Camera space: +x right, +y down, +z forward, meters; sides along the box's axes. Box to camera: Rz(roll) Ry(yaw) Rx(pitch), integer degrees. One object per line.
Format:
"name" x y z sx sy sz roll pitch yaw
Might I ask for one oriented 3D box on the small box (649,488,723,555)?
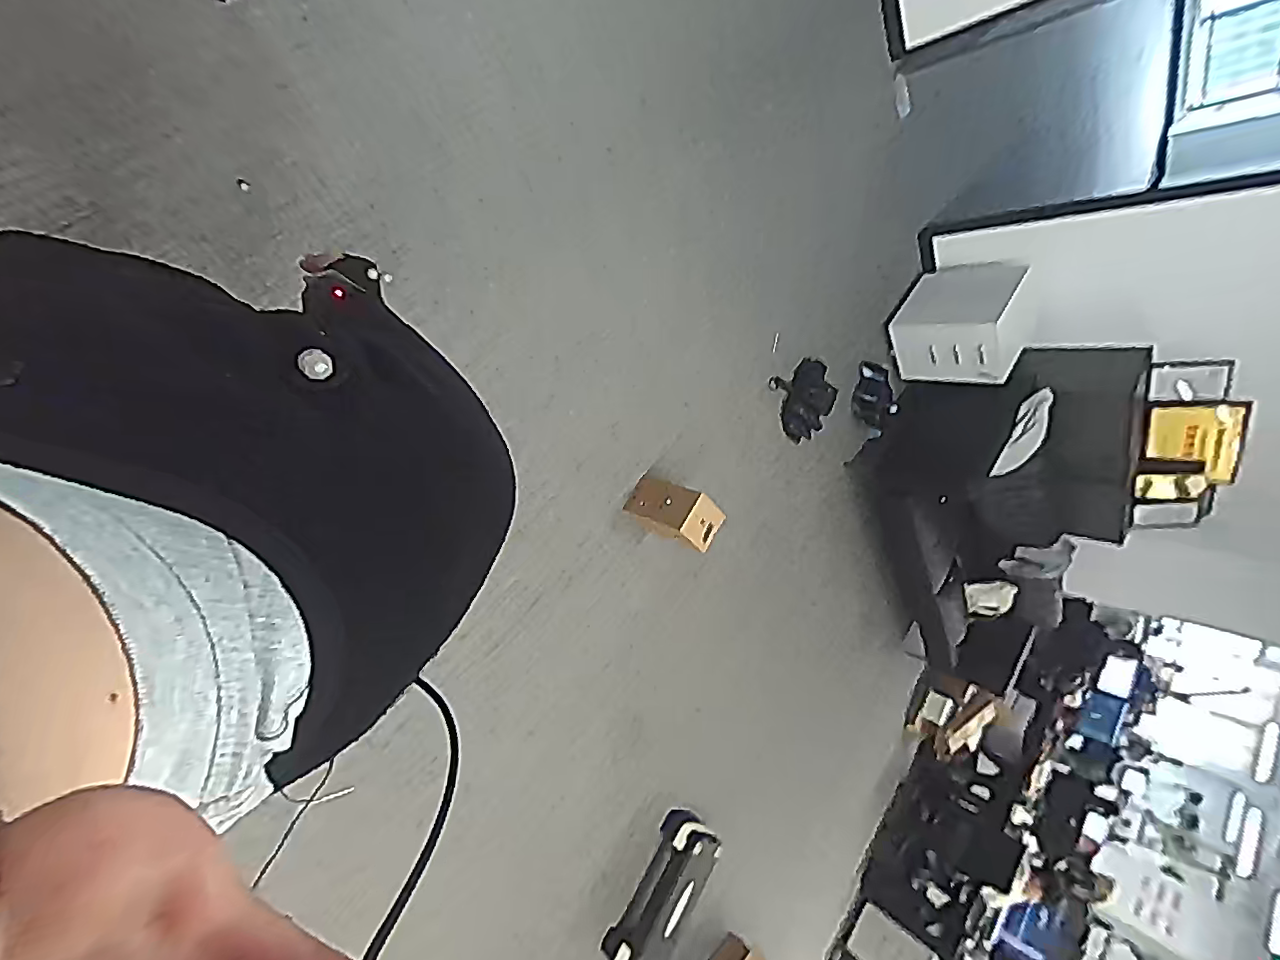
"small box" 0.168 0.146 1.988 0.179 0.176 0.168 44 72 -38

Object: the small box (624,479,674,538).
"small box" 0.067 0.111 2.113 0.179 0.176 0.168 44 73 -41
